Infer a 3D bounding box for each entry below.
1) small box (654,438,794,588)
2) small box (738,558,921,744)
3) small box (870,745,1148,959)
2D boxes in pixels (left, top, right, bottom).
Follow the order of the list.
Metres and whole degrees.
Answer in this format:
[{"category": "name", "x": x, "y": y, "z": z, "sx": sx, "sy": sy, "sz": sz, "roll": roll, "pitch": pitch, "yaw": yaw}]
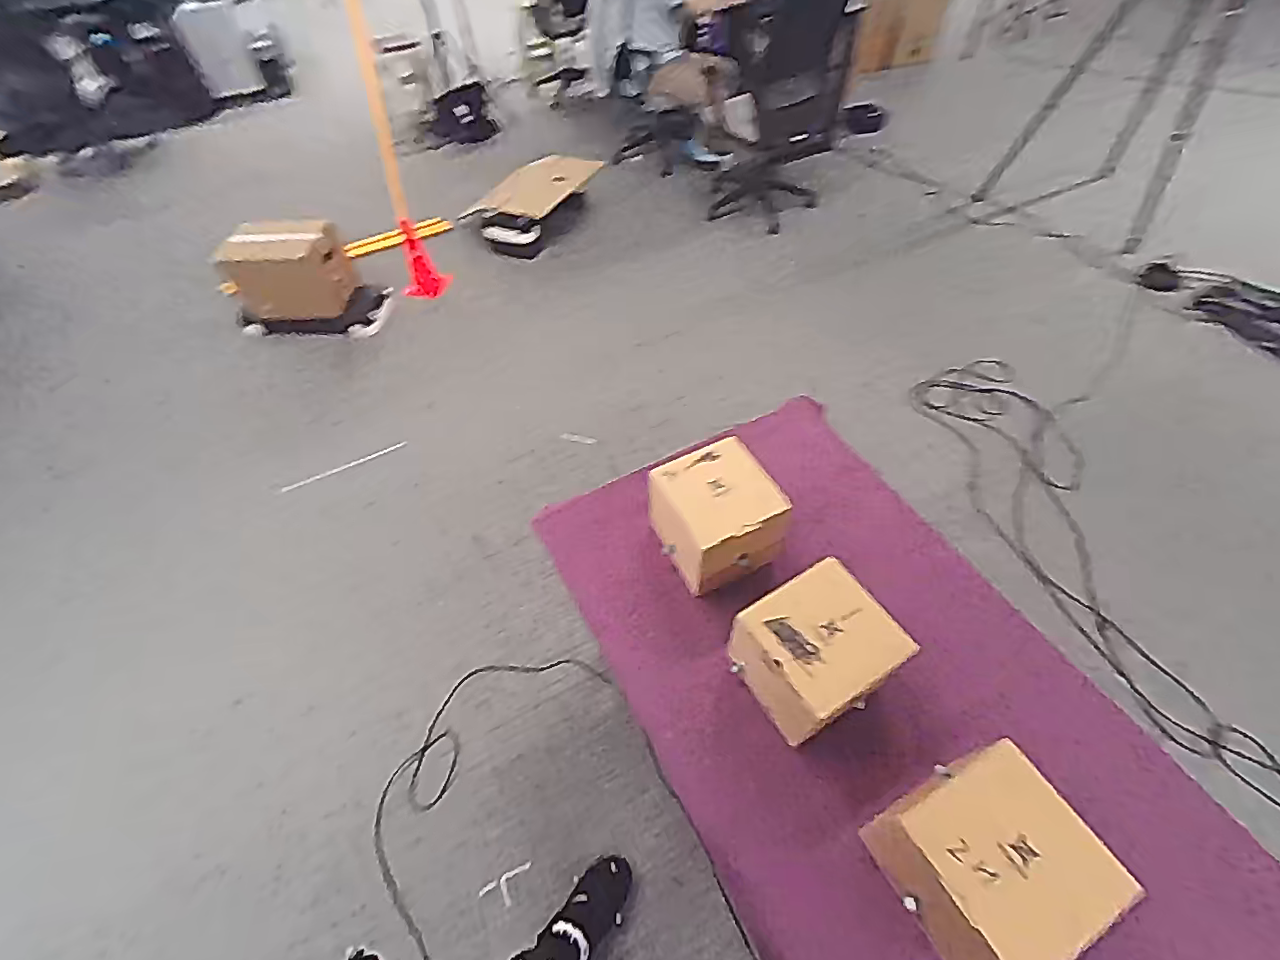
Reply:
[{"category": "small box", "x": 0.135, "y": 0.064, "z": 0.931, "sx": 0.168, "sy": 0.176, "sz": 0.179, "roll": -22, "pitch": 56, "yaw": -14}, {"category": "small box", "x": 0.257, "y": 0.252, "z": 0.784, "sx": 0.179, "sy": 0.176, "sz": 0.168, "roll": -26, "pitch": 56, "yaw": -17}, {"category": "small box", "x": 0.406, "y": 0.445, "z": 0.632, "sx": 0.179, "sy": 0.176, "sz": 0.168, "roll": -24, "pitch": 55, "yaw": -14}]
